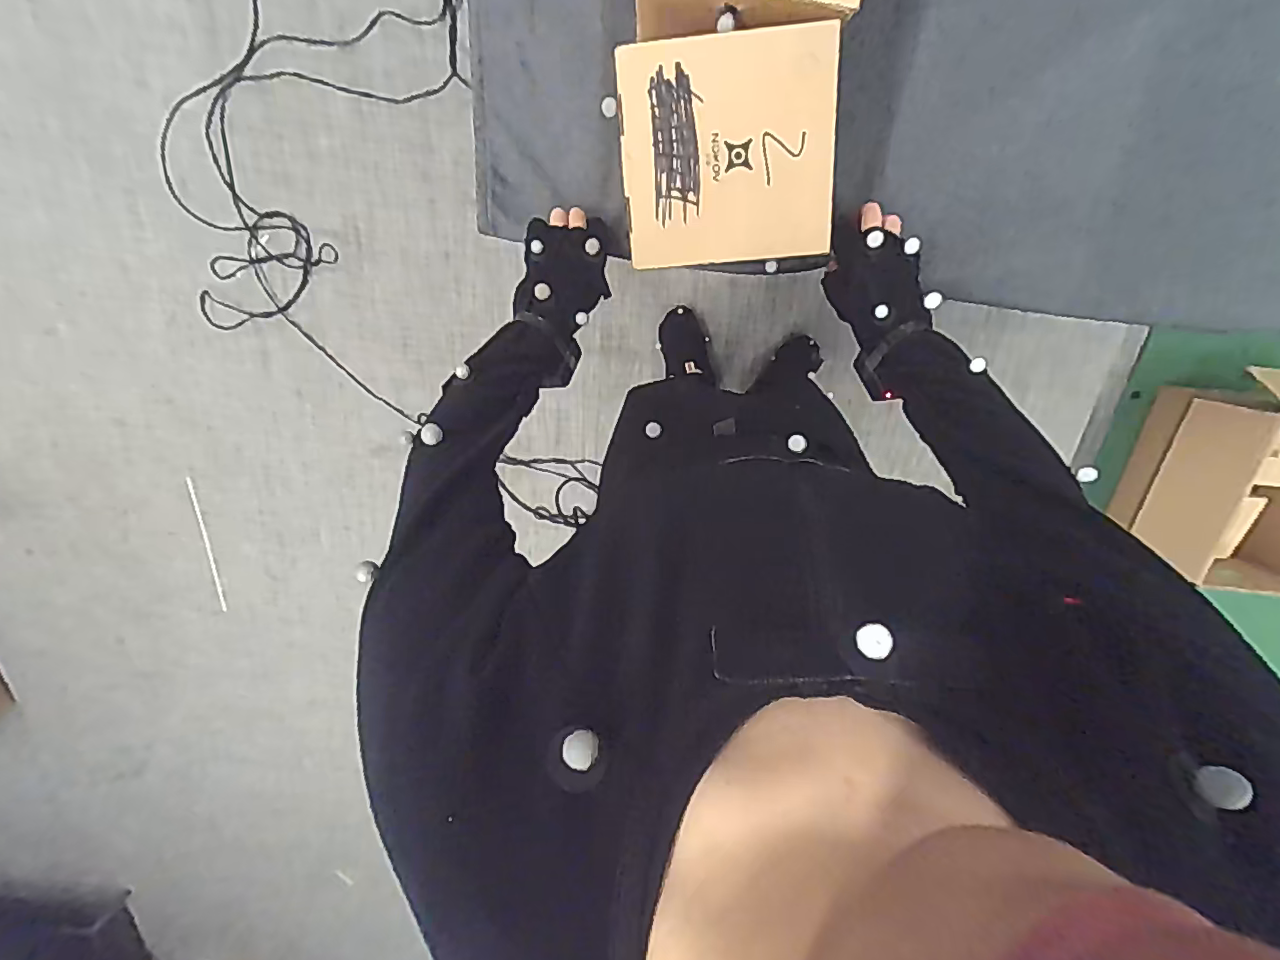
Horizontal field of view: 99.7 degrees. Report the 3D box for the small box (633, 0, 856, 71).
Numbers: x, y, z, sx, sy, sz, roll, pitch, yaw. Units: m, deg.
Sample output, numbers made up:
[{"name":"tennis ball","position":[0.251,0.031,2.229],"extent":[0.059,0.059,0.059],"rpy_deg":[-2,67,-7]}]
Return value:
[{"name":"small box","position":[0.093,-0.472,0.451],"extent":[0.179,0.176,0.168],"rpy_deg":[9,112,0]}]
